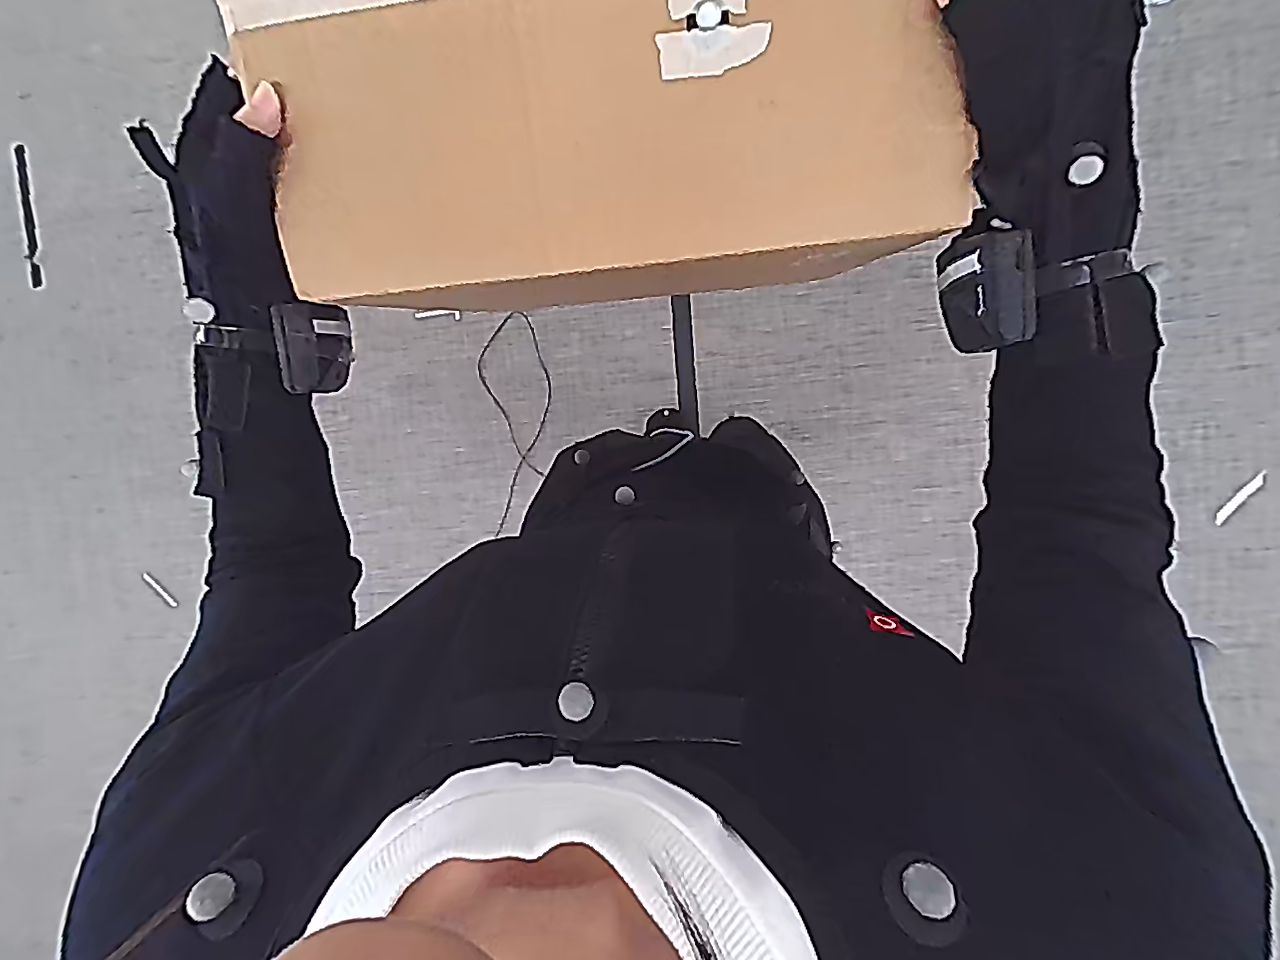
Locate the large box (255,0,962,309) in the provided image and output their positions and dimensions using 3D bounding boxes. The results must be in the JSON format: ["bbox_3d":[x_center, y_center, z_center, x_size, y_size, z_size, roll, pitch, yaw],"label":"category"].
[{"bbox_3d":[-0.018,-0.327,0.439,0.408,0.320,0.320,-4,106,6],"label":"large box"}]
